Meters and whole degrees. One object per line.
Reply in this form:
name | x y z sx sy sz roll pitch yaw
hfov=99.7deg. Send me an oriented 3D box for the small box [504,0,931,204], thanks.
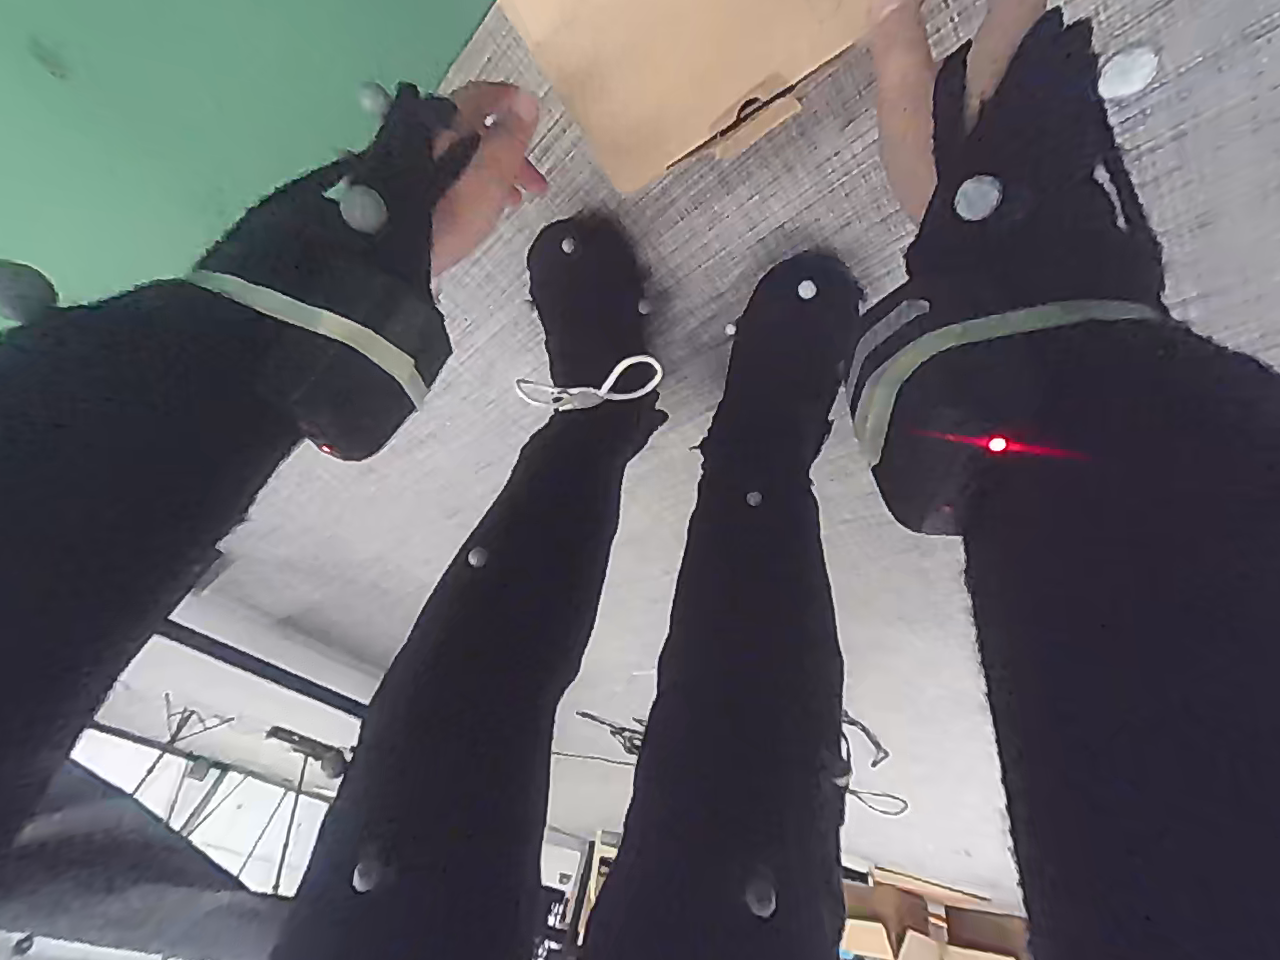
small box | 0.031 -0.291 0.276 0.168 0.176 0.179 -17 131 32
